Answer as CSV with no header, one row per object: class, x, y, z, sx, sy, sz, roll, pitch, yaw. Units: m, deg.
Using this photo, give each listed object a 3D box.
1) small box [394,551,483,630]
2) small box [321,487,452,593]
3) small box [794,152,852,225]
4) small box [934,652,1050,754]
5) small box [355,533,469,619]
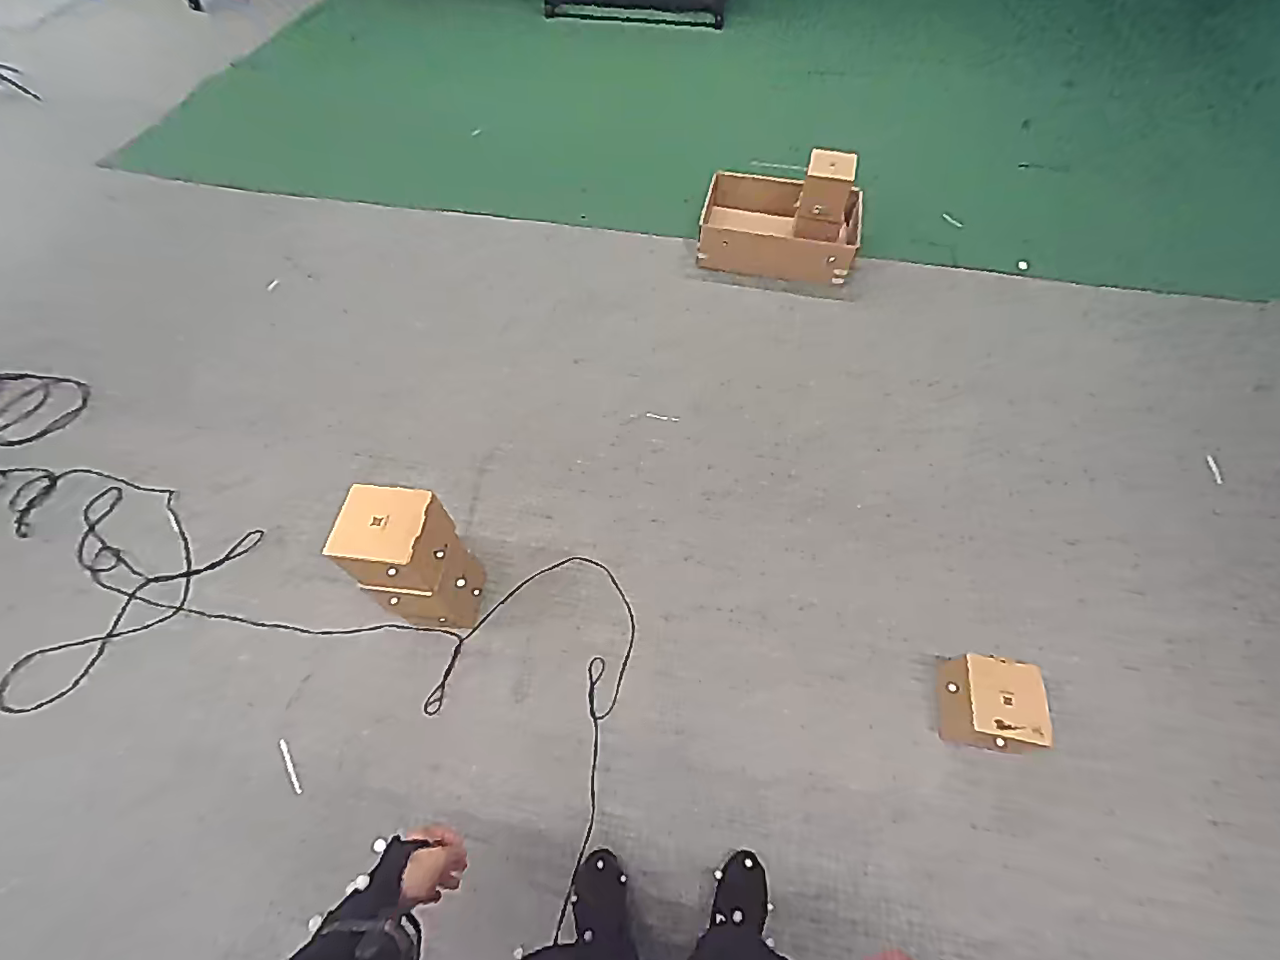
small box,-0.534,0.294,1.441,0.179,0.176,0.168,2,57,2
small box,-0.530,0.132,1.158,0.179,0.176,0.168,5,58,3
small box,0.691,-1.105,2.050,0.168,0.176,0.179,12,61,9
small box,0.819,0.531,1.282,0.168,0.176,0.179,10,58,7
small box,-0.534,0.223,1.293,0.179,0.176,0.168,6,59,3
